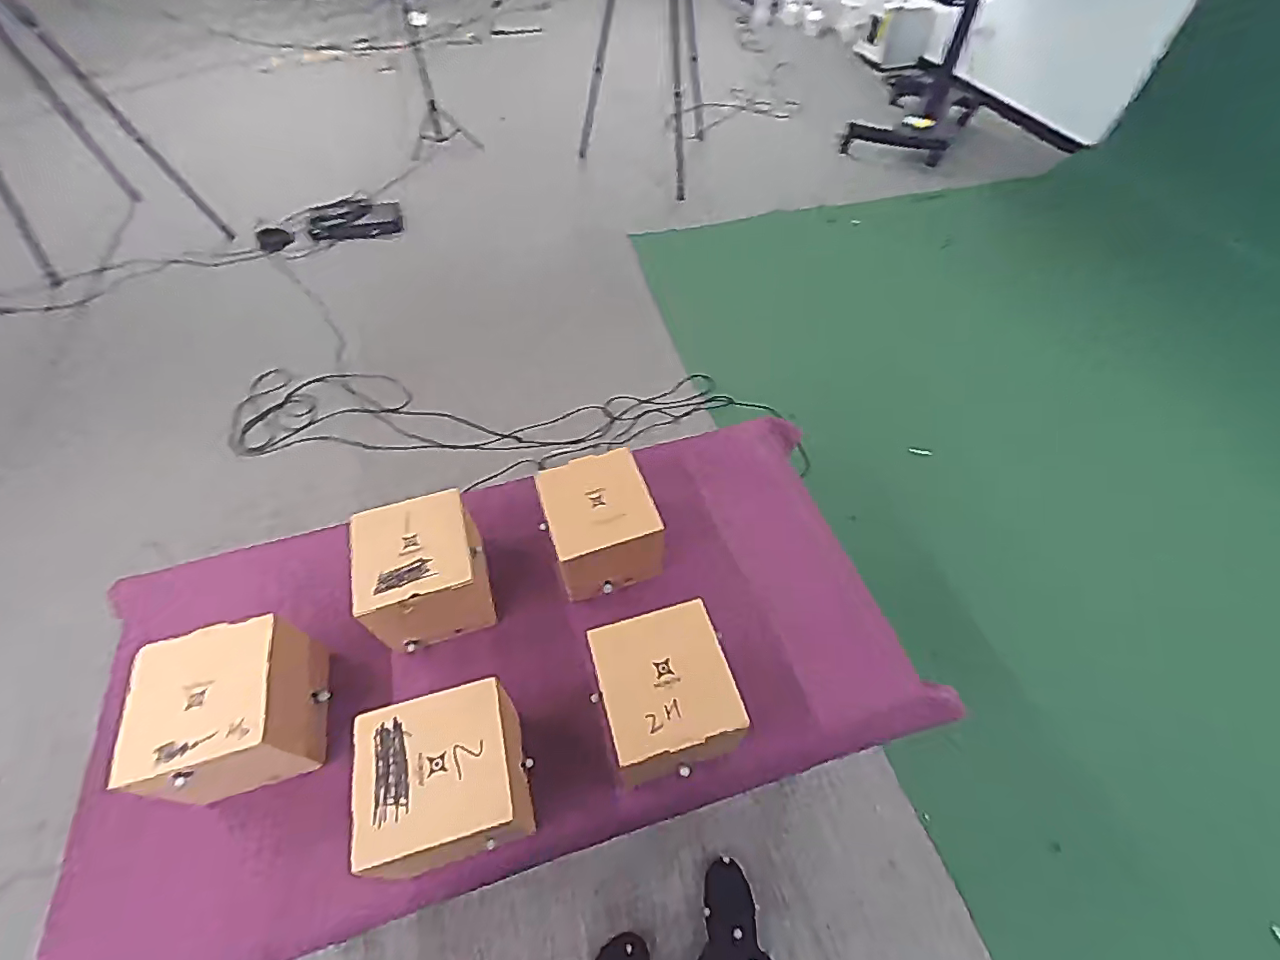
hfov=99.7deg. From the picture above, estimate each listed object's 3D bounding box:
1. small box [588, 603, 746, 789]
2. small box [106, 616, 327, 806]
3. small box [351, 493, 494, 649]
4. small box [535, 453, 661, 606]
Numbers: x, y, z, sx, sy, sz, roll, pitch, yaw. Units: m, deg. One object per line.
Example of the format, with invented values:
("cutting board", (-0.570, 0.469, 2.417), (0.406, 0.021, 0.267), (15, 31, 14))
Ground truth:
("small box", (0.028, 0.303, 0.755), (0.168, 0.176, 0.179), (-13, 53, -10))
("small box", (-0.554, 0.318, 0.740), (0.168, 0.176, 0.179), (-14, 54, -9))
("small box", (-0.343, 0.153, 0.867), (0.168, 0.176, 0.179), (-15, 54, -11))
("small box", (-0.072, 0.086, 0.921), (0.168, 0.176, 0.179), (-16, 56, -11))
